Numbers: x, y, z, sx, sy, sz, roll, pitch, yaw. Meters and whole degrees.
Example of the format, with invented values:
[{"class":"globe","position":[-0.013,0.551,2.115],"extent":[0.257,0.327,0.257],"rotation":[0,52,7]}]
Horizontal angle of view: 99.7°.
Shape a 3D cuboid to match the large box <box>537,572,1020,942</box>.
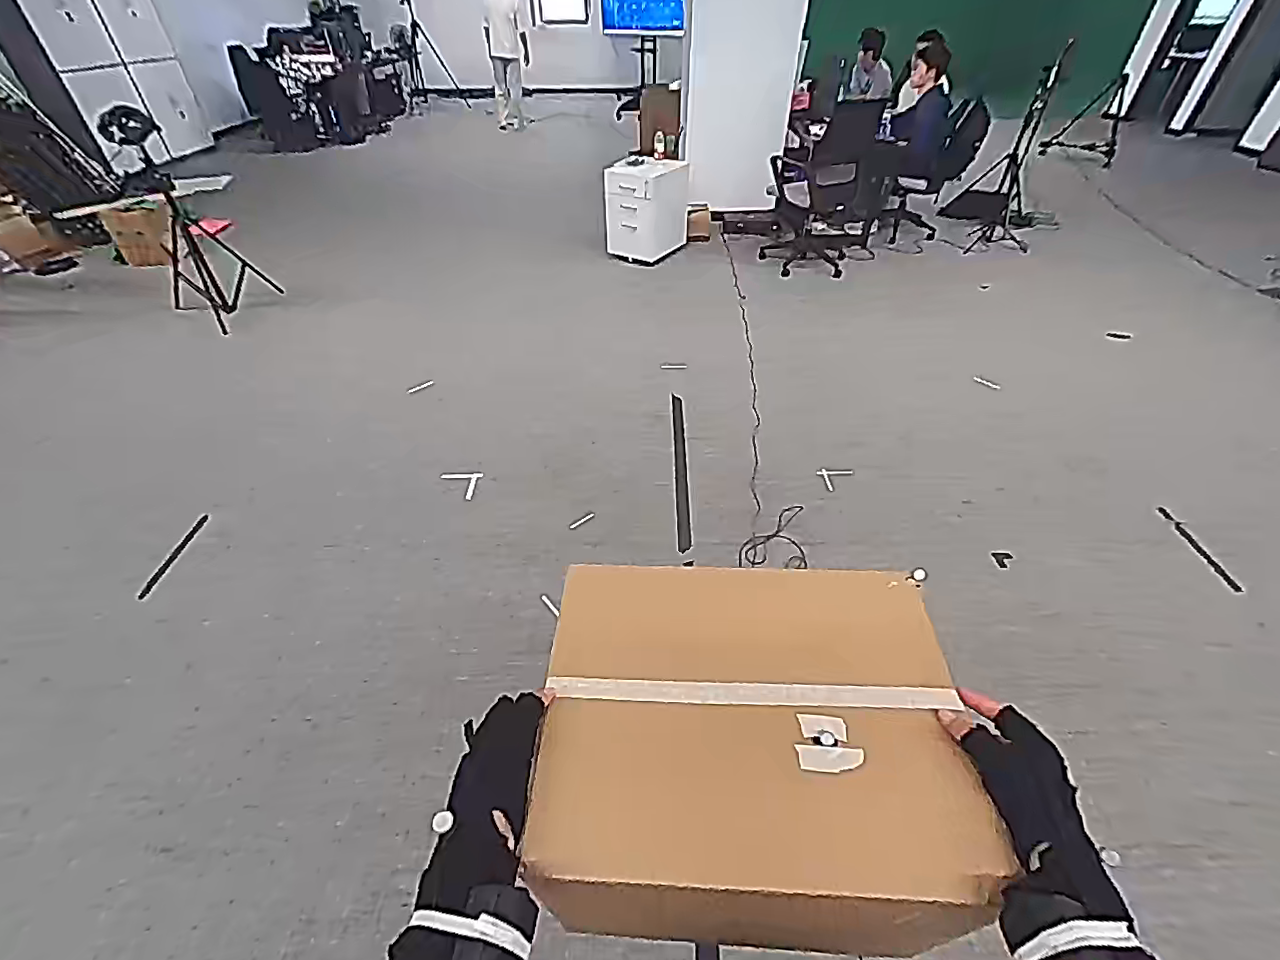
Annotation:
[{"class":"large box","position":[0.120,0.328,0.651],"extent":[0.408,0.320,0.320],"rotation":[1,45,4]}]
